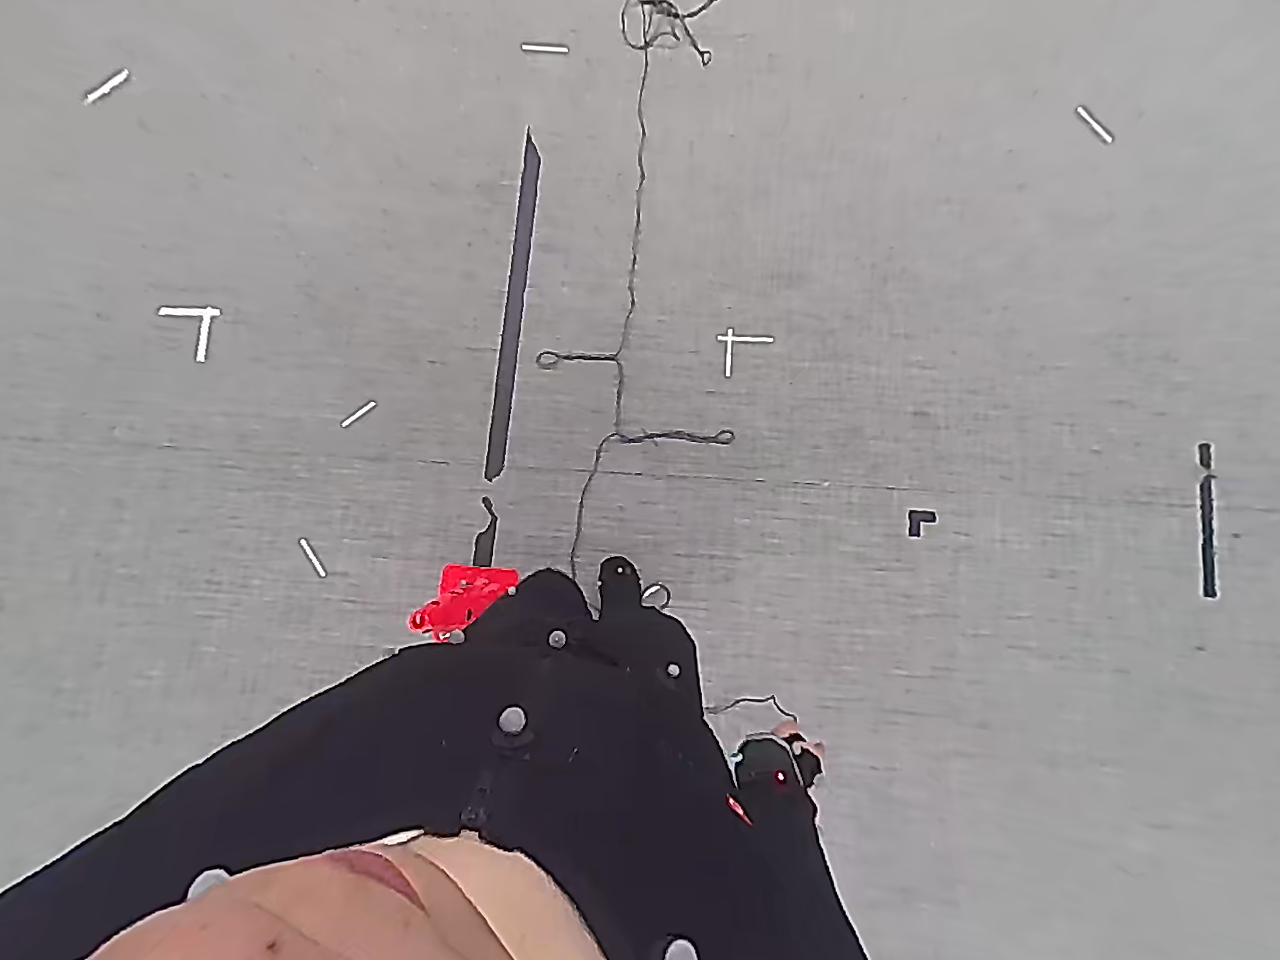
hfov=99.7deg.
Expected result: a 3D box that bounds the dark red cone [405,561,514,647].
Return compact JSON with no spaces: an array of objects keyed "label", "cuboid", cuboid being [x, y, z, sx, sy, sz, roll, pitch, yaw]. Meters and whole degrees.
[{"label":"dark red cone","cuboid":[-0.419,0.284,1.187,0.201,0.394,0.202,4,82,0]}]
